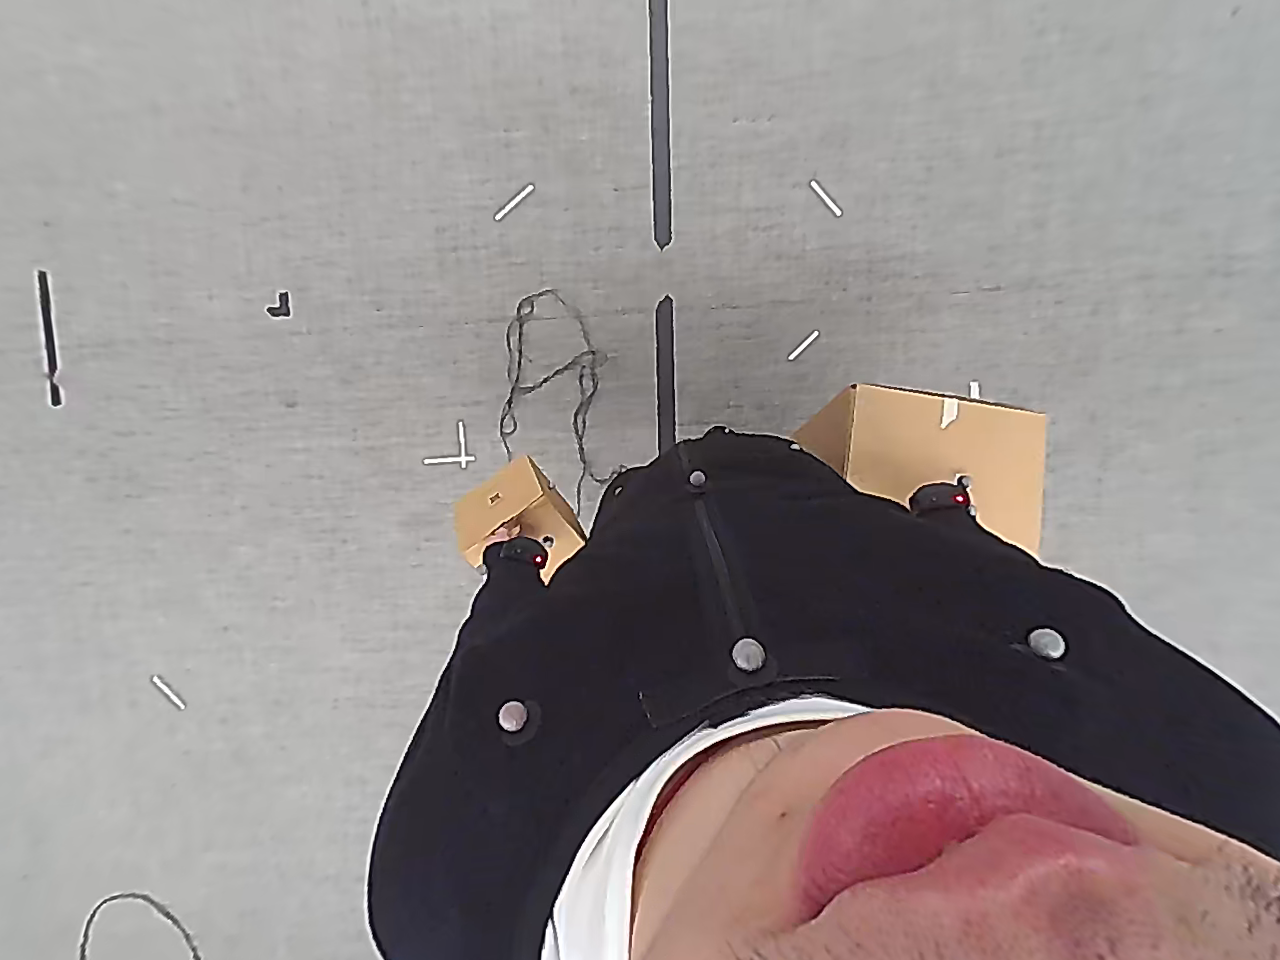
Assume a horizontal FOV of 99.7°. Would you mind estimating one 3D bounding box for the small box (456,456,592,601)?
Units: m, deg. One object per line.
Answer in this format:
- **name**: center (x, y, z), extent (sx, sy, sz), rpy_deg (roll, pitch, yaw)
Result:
- **small box**: center (-0.210, 0.093, 0.984), extent (0.168, 0.179, 0.176), rpy_deg (-35, 124, -2)
